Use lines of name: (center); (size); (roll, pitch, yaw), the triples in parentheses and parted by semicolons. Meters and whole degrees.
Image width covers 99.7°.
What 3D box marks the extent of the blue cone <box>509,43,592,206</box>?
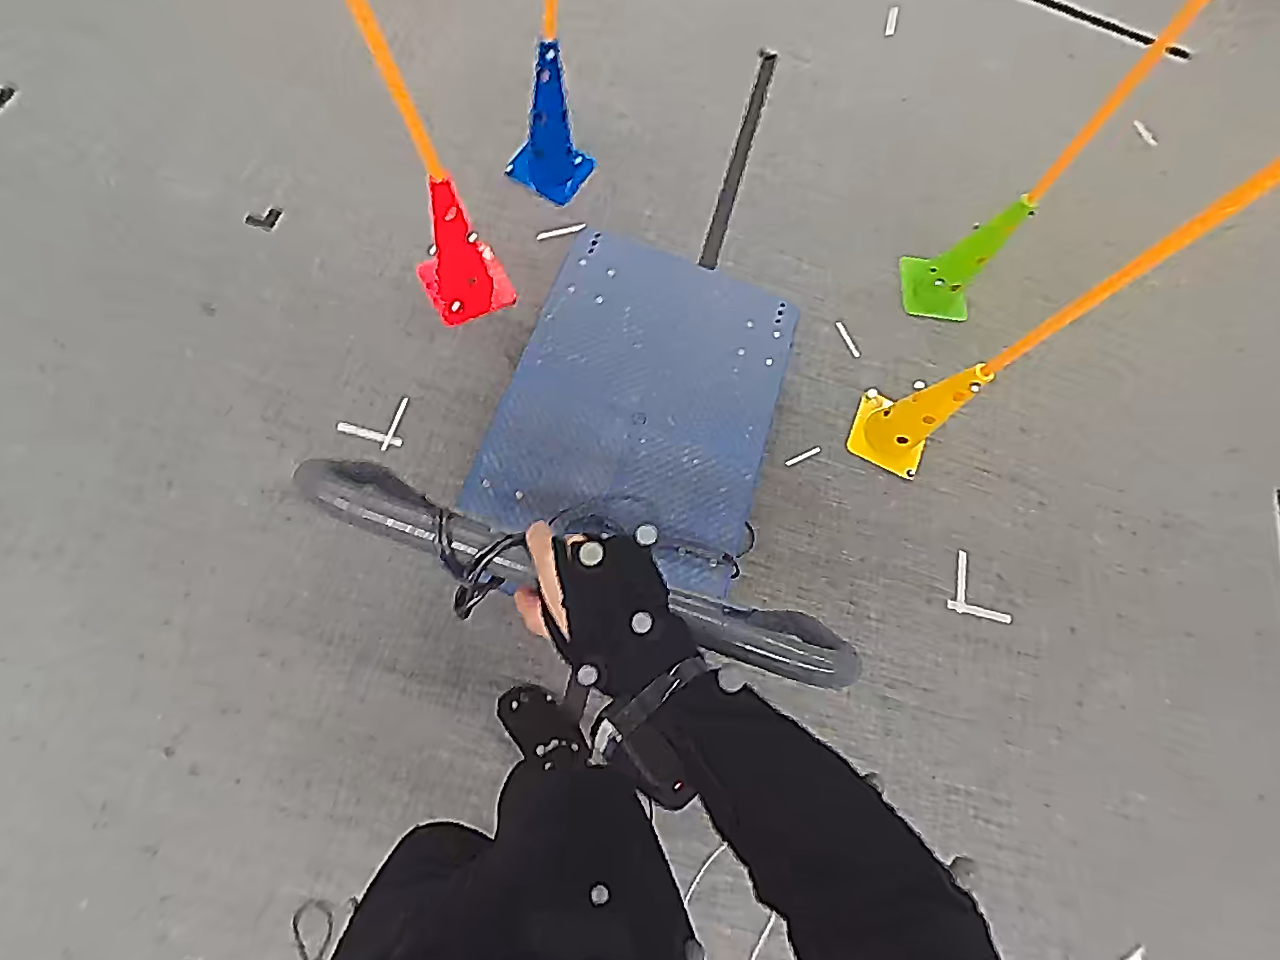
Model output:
blue cone: (-0.230, -0.930, 1.394); (0.193, 0.380, 0.192); (32, 73, 2)

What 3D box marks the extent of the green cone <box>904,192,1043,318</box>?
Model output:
green cone: (0.910, -0.624, 1.451); (0.200, 0.368, 0.202); (4, 74, -7)

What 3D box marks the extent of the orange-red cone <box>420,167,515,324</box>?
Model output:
orange-red cone: (-0.420, -0.559, 1.241); (0.199, 0.360, 0.198); (-26, 80, -16)
